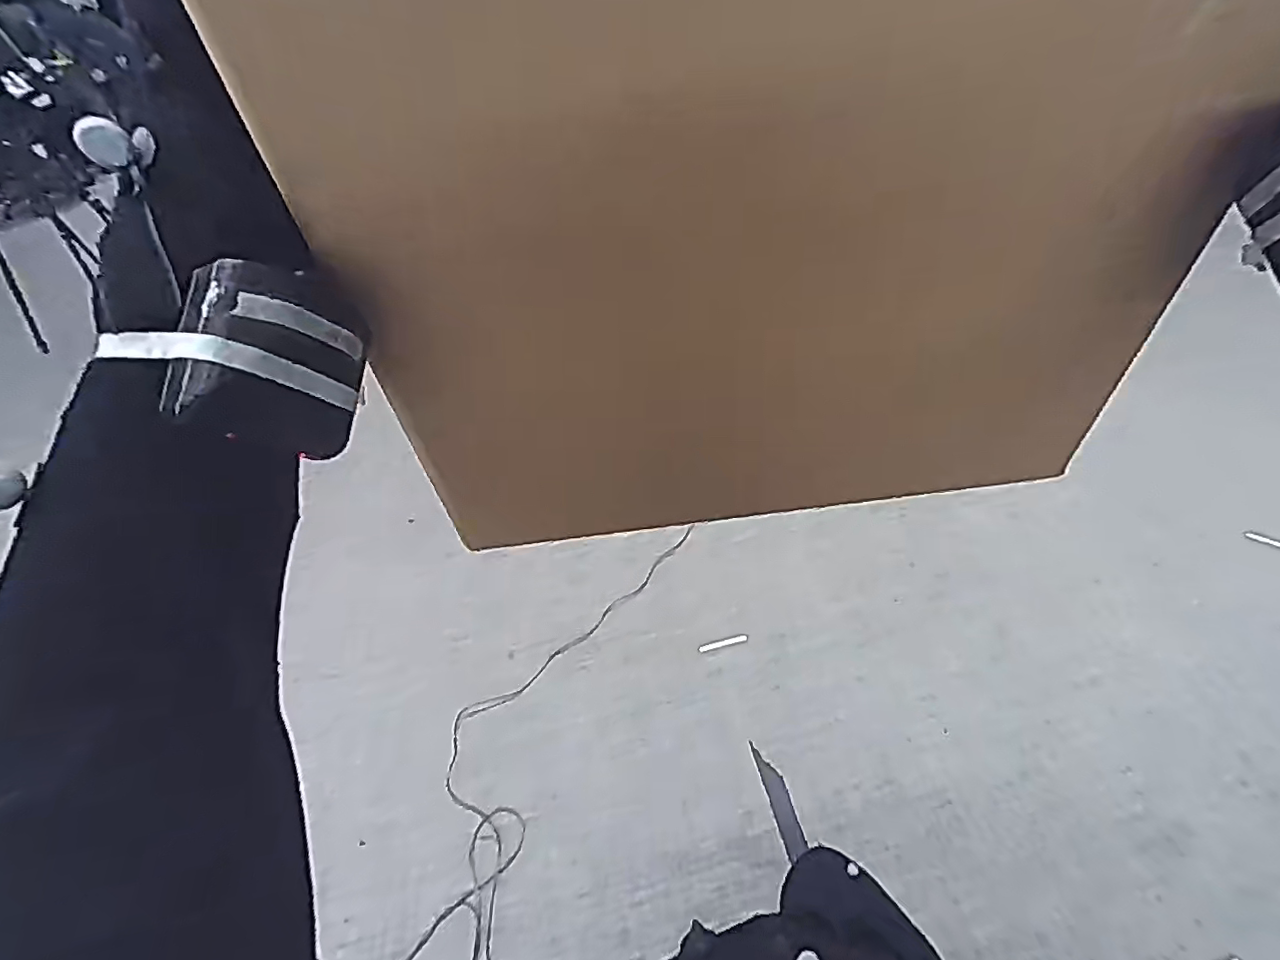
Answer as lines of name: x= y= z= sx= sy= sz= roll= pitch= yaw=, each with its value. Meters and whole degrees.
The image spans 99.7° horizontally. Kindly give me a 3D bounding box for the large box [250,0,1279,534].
large box: x=0.055 y=-0.194 z=0.381 sx=0.408 sy=0.320 sz=0.320 roll=-7 pitch=44 yaw=-1
